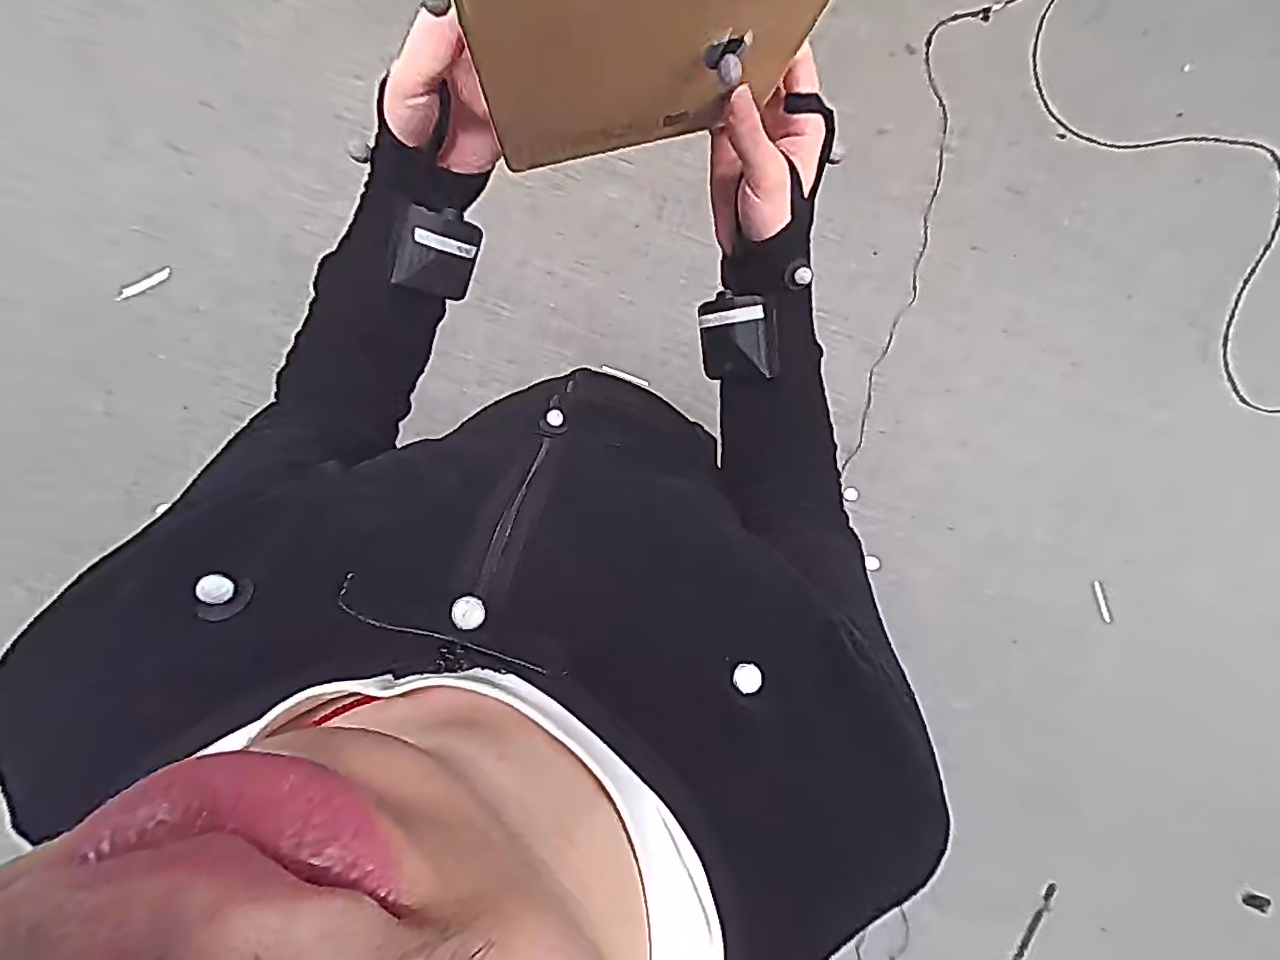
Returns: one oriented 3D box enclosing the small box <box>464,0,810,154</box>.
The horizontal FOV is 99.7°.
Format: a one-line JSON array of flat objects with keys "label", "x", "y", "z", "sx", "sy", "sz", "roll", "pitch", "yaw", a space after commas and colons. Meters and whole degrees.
[{"label": "small box", "x": -0.013, "y": -0.286, "z": 0.259, "sx": 0.168, "sy": 0.176, "sz": 0.179, "roll": -16, "pitch": 100, "yaw": -5}]
